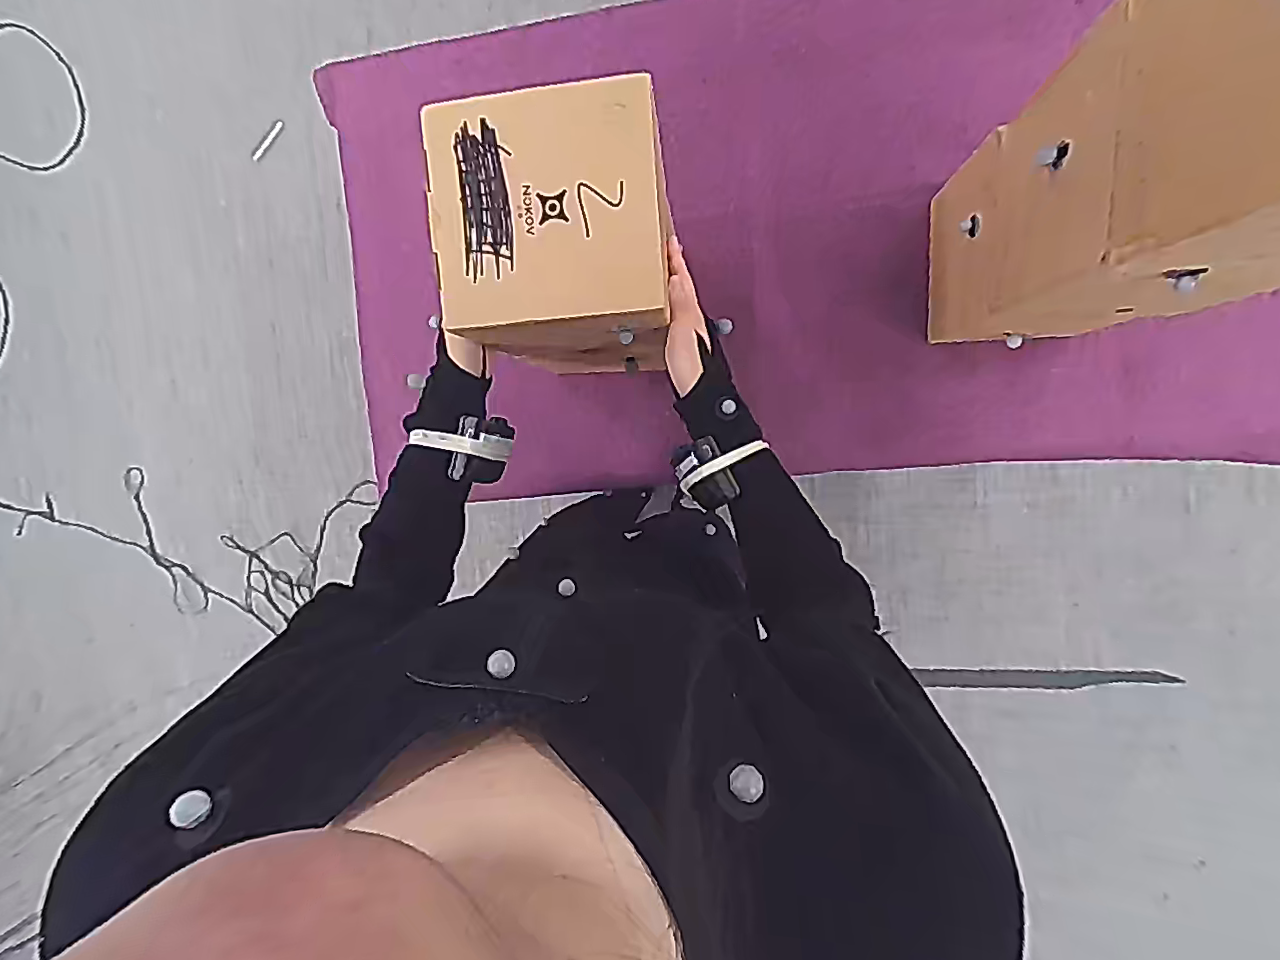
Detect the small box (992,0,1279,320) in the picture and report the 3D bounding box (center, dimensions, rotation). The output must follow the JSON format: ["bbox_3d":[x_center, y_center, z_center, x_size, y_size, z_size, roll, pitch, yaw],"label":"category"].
[{"bbox_3d":[0.403,-0.233,0.420,0.168,0.176,0.179,2,94,9],"label":"small box"}]

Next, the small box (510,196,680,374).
[{"bbox_3d":[-0.042,-0.222,0.657,0.179,0.176,0.168,0,94,9],"label":"small box"}]

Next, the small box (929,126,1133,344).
[{"bbox_3d":[0.428,-0.252,0.581,0.168,0.176,0.179,-1,95,9],"label":"small box"}]

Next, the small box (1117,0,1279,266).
[{"bbox_3d":[0.378,-0.212,0.260,0.168,0.176,0.179,1,95,10],"label":"small box"}]
